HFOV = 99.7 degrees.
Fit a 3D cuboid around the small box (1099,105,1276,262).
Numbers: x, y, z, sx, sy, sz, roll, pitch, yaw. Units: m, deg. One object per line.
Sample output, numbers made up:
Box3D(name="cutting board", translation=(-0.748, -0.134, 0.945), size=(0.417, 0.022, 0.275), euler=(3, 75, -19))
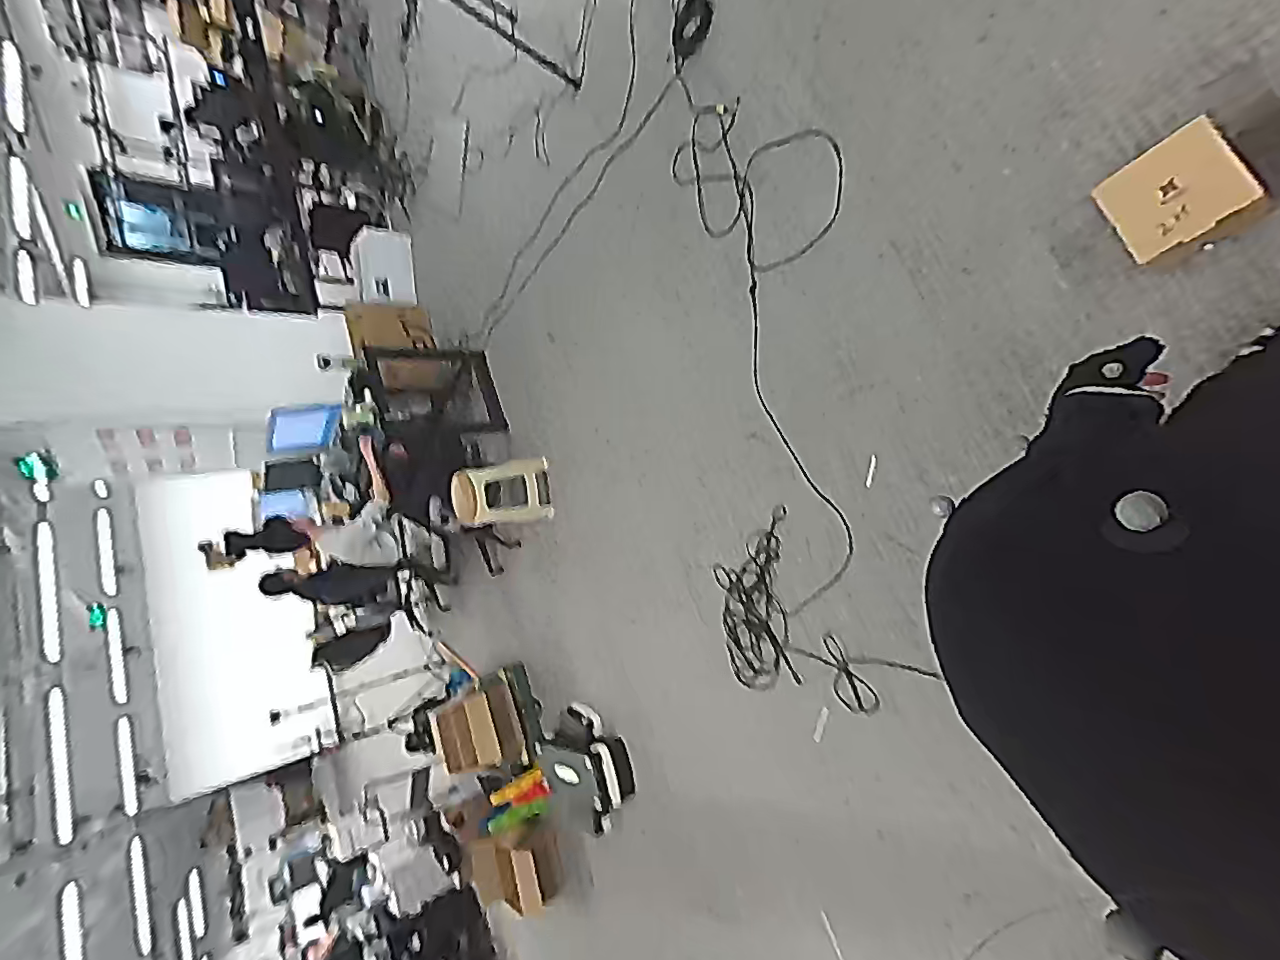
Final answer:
Box3D(name="small box", translation=(0.992, -0.523, 0.984), size=(0.168, 0.176, 0.179), euler=(-37, 69, 49))
